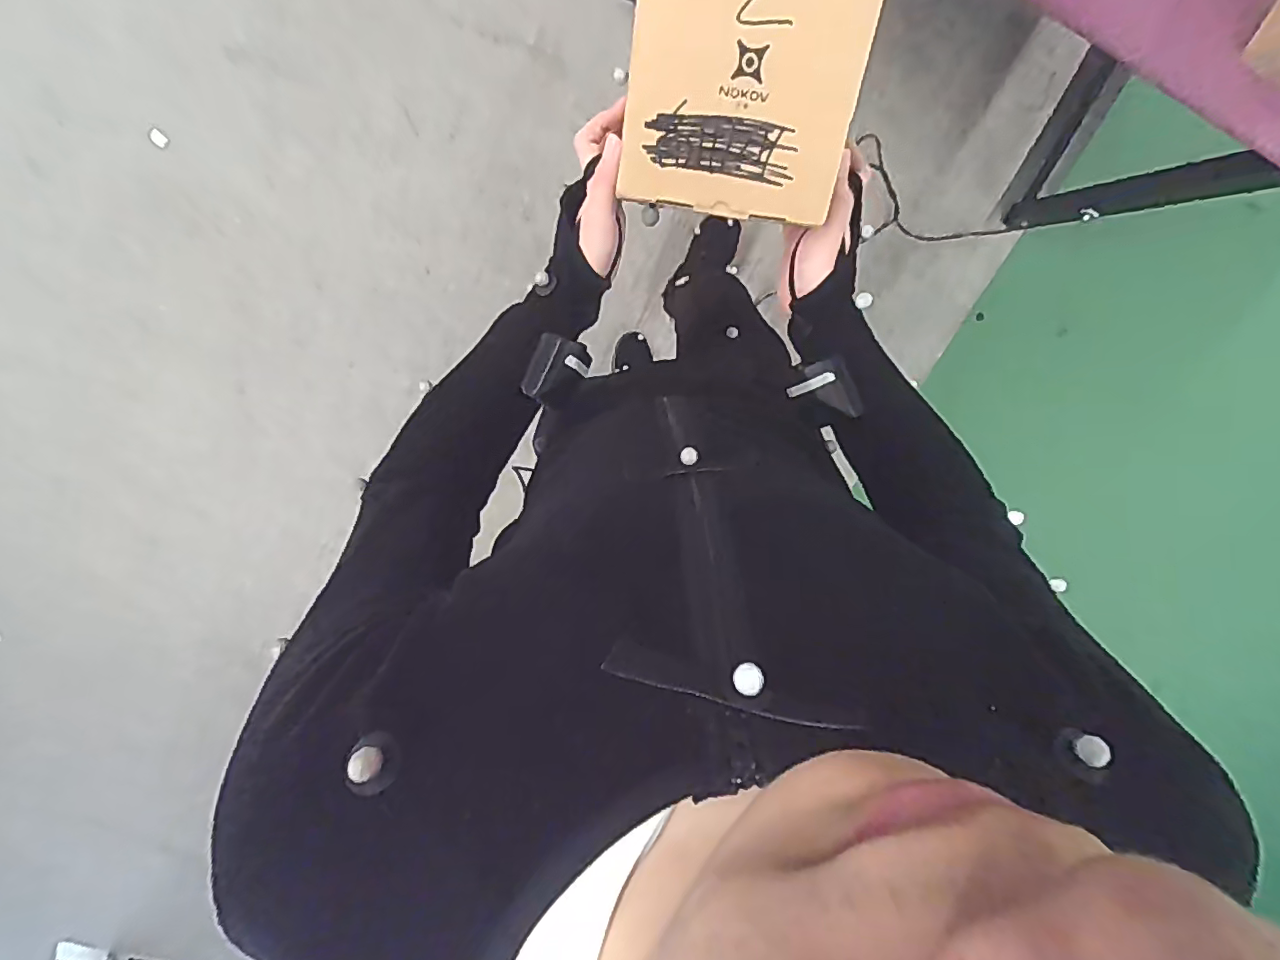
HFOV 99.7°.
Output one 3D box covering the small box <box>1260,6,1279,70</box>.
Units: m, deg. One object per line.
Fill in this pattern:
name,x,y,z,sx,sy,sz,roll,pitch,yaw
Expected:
small box,0.901,-0.576,0.613,0.168,0.176,0.179,23,107,-8
